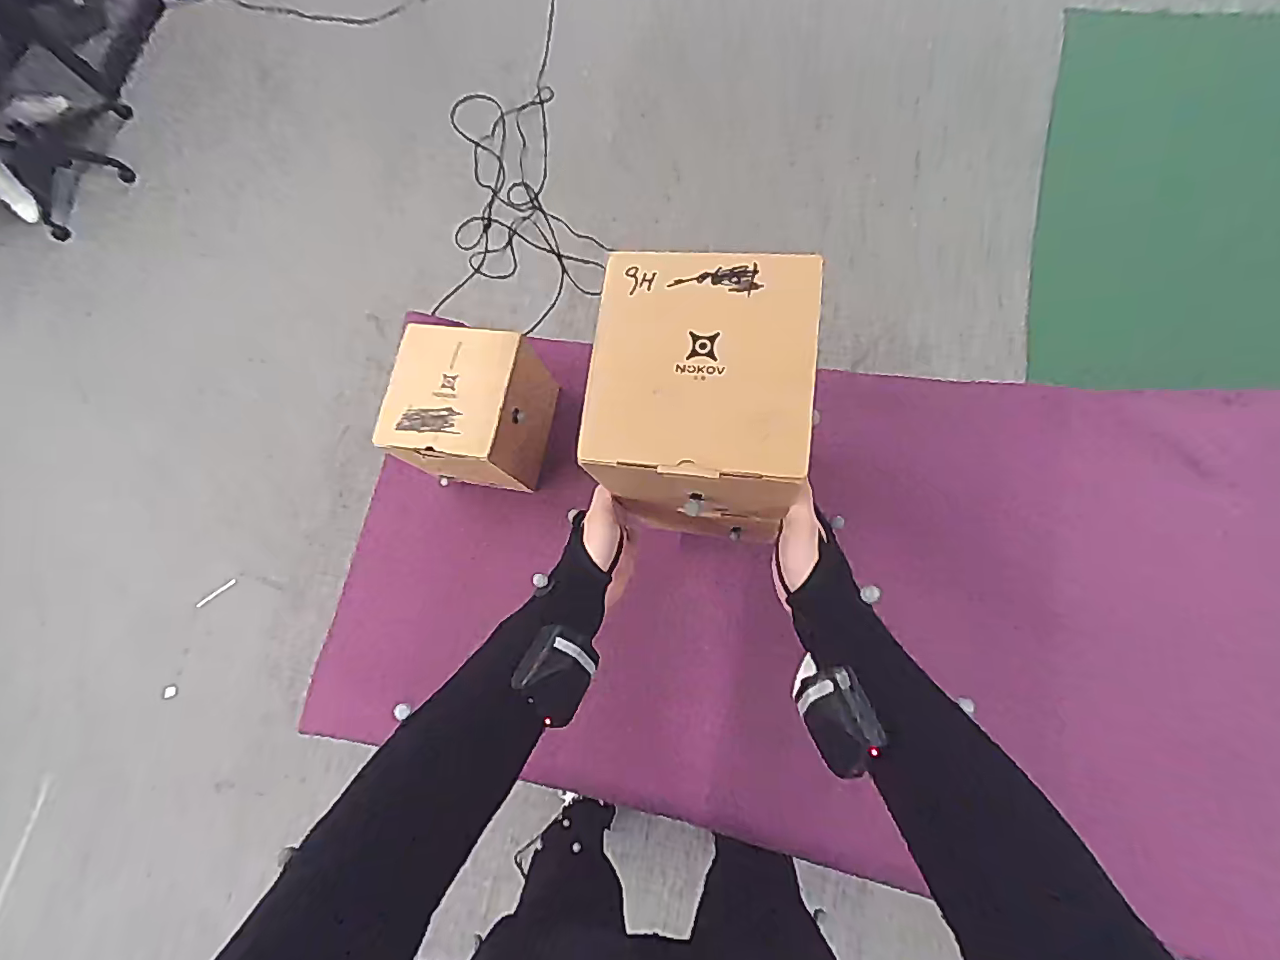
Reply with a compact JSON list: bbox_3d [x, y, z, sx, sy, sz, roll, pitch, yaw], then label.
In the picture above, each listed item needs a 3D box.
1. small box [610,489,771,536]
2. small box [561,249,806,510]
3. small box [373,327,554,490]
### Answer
[{"bbox_3d":[0.075,-0.035,0.628,0.168,0.176,0.179,7,78,12],"label":"small box"},{"bbox_3d":[0.045,-0.074,0.472,0.168,0.176,0.179,5,79,11],"label":"small box"},{"bbox_3d":[-0.236,-0.093,0.769,0.168,0.176,0.179,7,76,12],"label":"small box"}]
